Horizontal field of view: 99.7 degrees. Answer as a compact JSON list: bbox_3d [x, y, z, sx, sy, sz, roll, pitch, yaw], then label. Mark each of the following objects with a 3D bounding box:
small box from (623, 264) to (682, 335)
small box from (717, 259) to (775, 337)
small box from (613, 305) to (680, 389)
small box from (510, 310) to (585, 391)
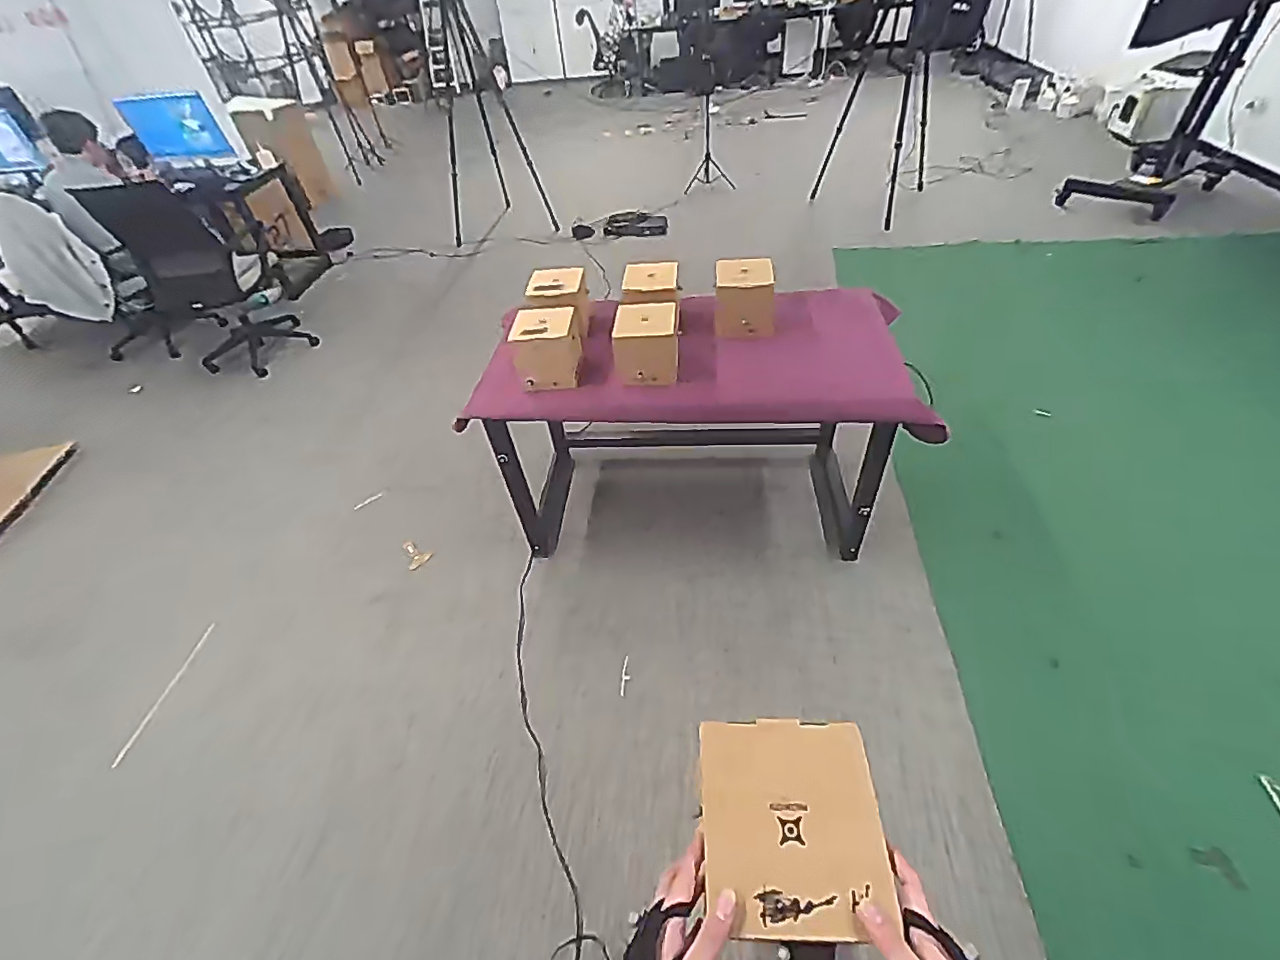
[{"bbox_3d":[0.044,-0.563,1.715,0.168,0.176,0.179,-1,47,8],"label":"small box"},{"bbox_3d":[0.322,-0.560,1.666,0.168,0.176,0.179,0,46,9],"label":"small box"},{"bbox_3d":[0.024,-0.377,1.534,0.168,0.176,0.179,-1,46,9],"label":"small box"},{"bbox_3d":[-0.261,-0.370,1.565,0.168,0.176,0.179,-3,43,6],"label":"small box"}]
